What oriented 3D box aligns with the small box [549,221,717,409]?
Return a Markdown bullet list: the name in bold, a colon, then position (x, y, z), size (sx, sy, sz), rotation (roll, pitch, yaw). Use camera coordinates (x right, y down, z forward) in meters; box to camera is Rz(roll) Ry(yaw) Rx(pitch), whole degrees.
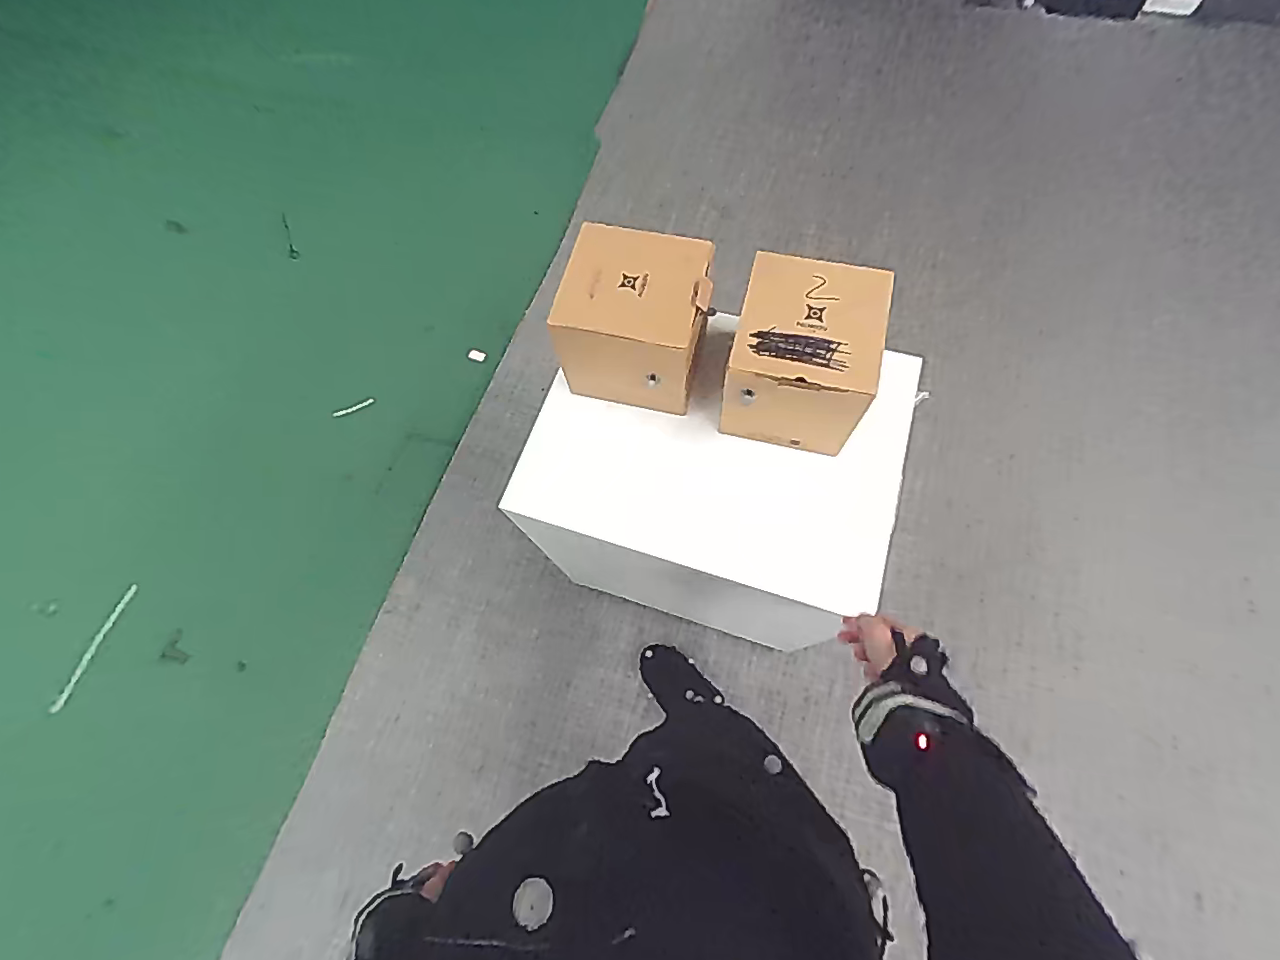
- **small box**: position (-0.002, -0.213, 0.733), size (0.179, 0.176, 0.168), rotation (12, 69, 8)
